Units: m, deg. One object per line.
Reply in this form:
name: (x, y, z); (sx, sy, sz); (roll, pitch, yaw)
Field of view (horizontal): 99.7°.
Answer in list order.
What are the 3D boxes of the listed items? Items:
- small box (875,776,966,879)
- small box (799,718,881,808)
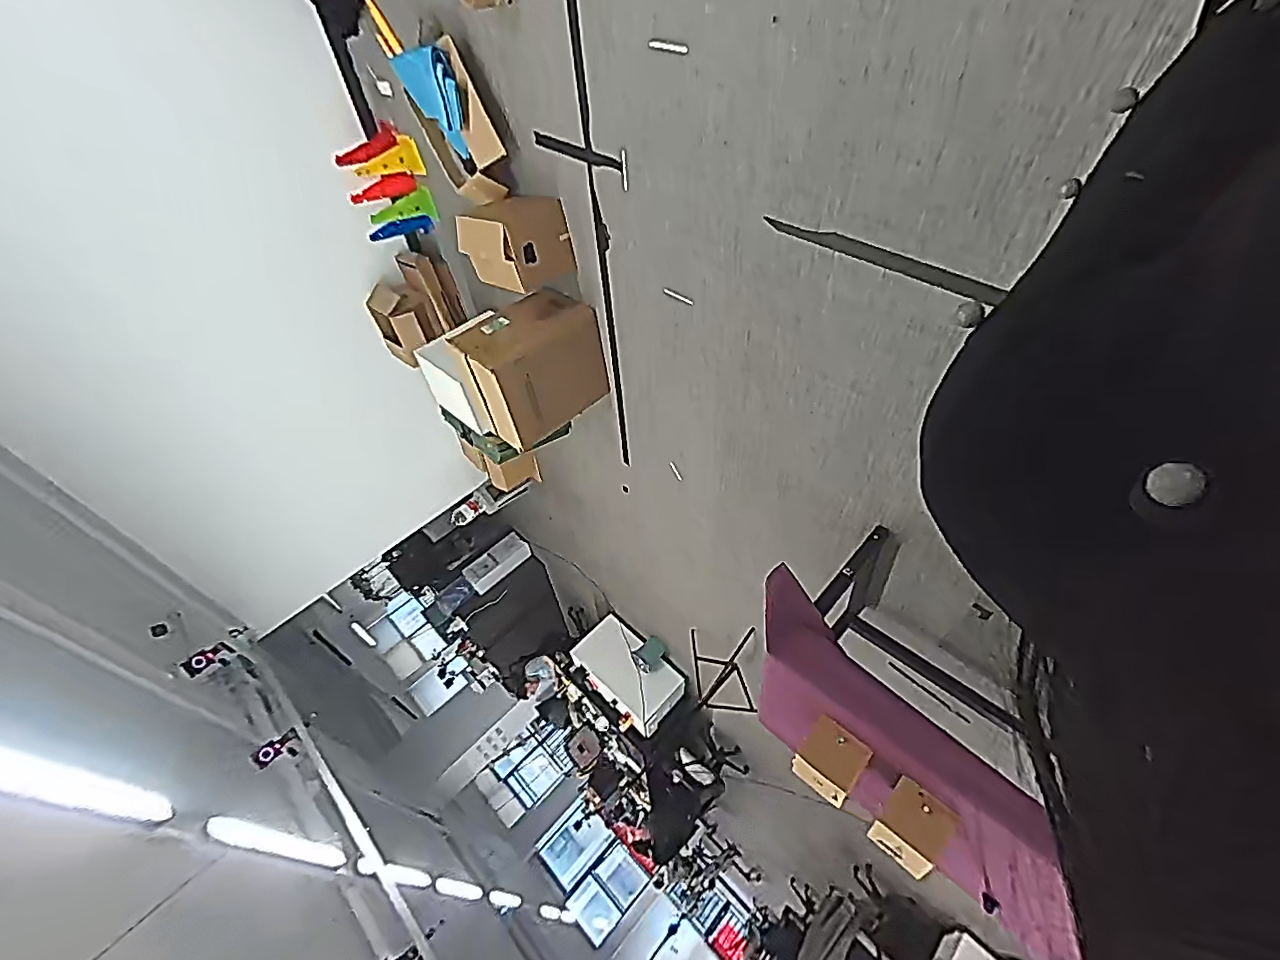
small box: (0.821, 1.015, 1.586); (0.168, 0.176, 0.179); (31, 148, 35)
small box: (0.635, 0.896, 1.730); (0.179, 0.176, 0.168); (32, 149, 35)
